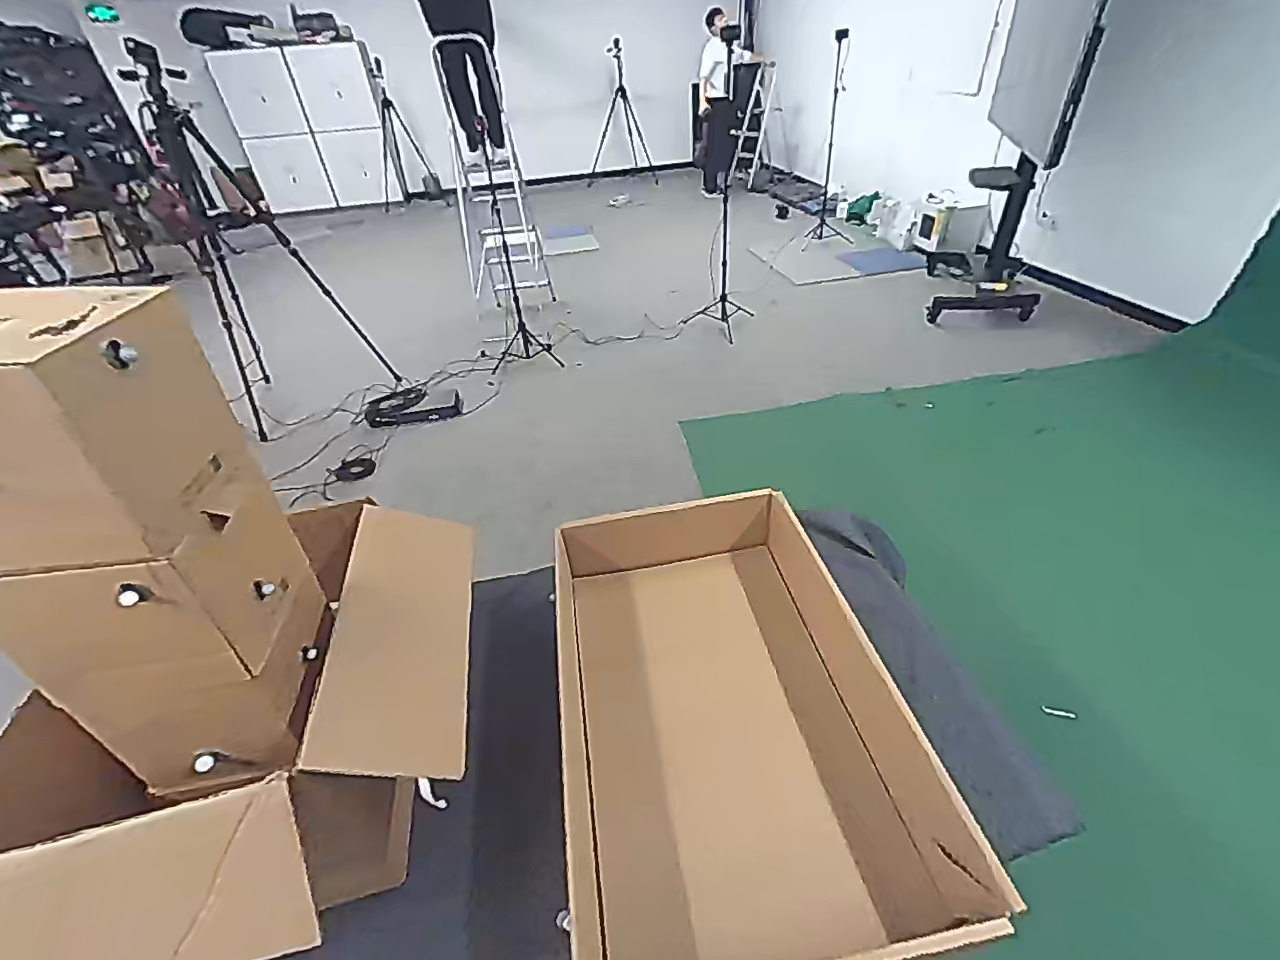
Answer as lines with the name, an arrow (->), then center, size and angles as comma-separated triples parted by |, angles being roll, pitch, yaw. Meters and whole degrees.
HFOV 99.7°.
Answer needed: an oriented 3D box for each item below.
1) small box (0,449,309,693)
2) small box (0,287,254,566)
small box -> -0.469, 0.088, 0.536 | 0.179, 0.176, 0.168 | -5, 37, -9
small box -> -0.469, -0.046, 0.440 | 0.179, 0.176, 0.168 | -5, 37, -7
